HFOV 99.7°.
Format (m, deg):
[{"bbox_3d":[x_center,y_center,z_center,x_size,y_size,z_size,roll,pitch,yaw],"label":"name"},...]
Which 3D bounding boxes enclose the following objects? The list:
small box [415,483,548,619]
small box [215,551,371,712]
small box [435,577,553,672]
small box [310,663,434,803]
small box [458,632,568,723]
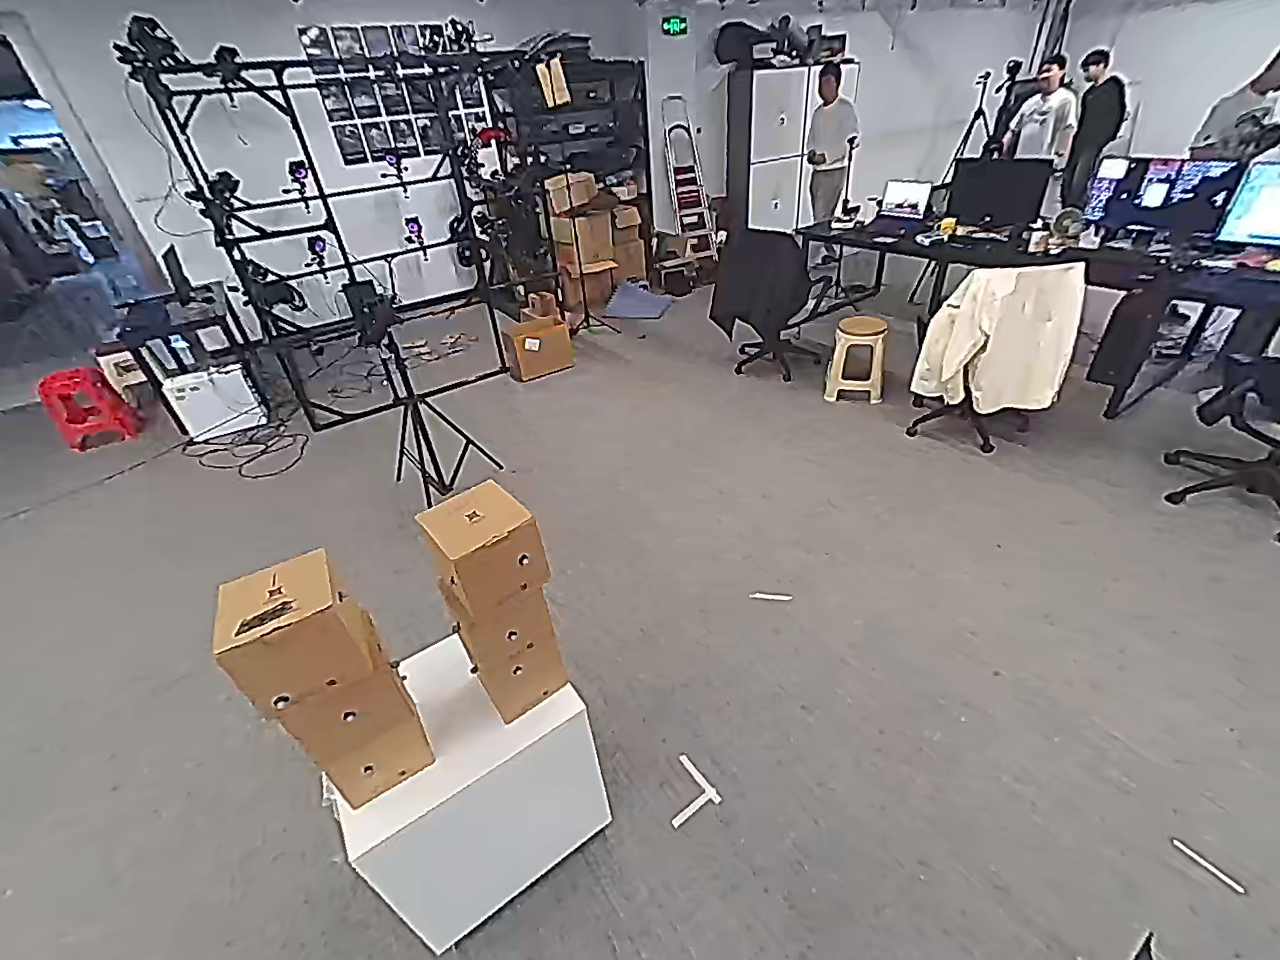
[{"bbox_3d":[-0.297,0.140,1.039,0.168,0.176,0.179,-30,41,-30],"label":"small box"},{"bbox_3d":[-0.576,0.259,0.912,0.168,0.176,0.179,-23,37,-22],"label":"small box"},{"bbox_3d":[-0.301,0.273,1.134,0.168,0.176,0.179,-27,40,-26],"label":"small box"},{"bbox_3d":[-0.544,0.523,1.107,0.168,0.176,0.179,-24,38,-25],"label":"small box"},{"bbox_3d":[-0.285,0.407,1.229,0.168,0.176,0.179,-28,40,-26],"label":"small box"}]
